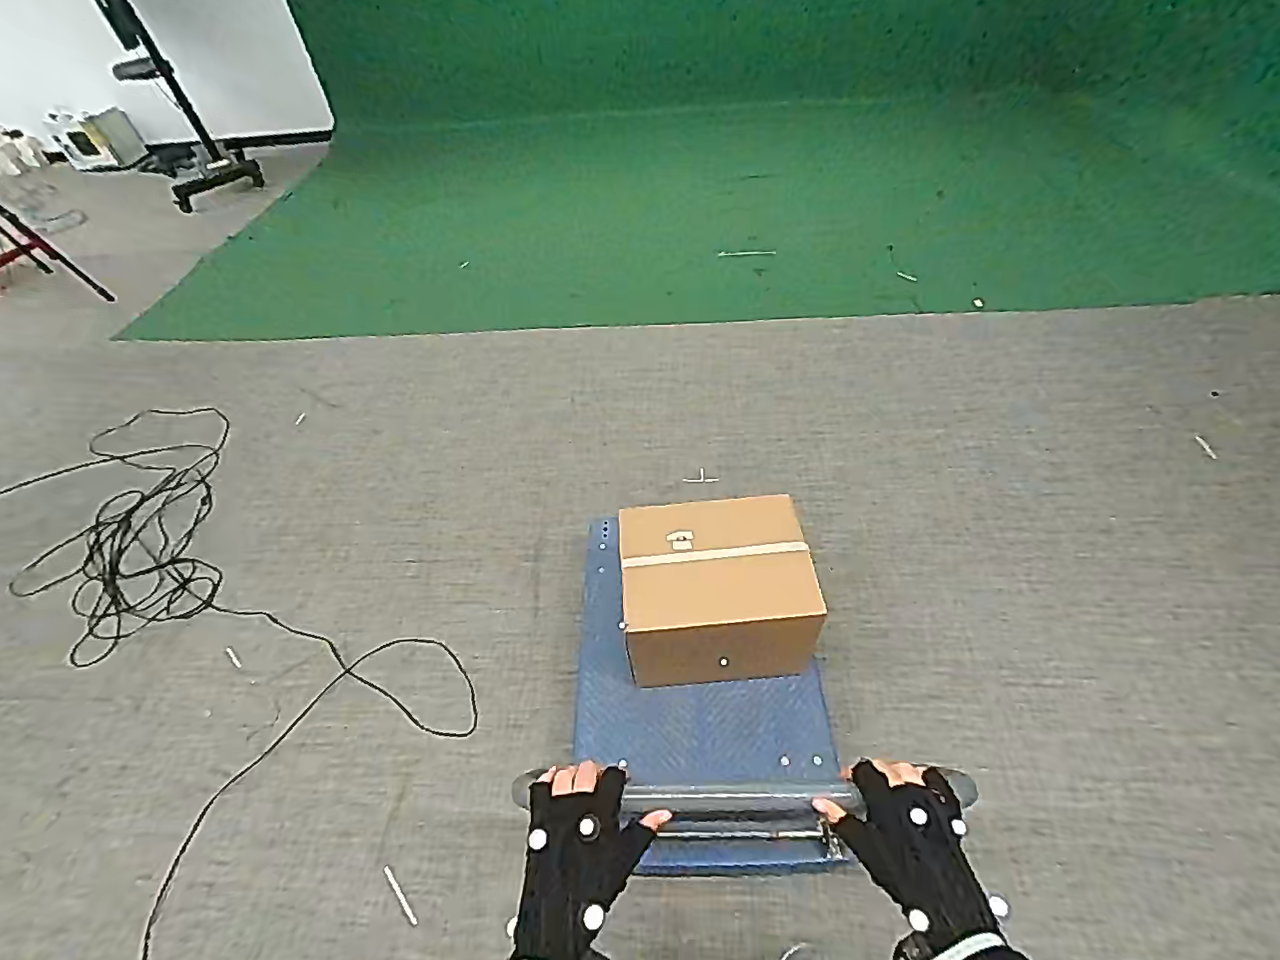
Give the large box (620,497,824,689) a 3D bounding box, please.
[{"bbox_3d":[0.177,0.276,1.294,0.408,0.320,0.320,-7,48,1],"label":"large box"}]
